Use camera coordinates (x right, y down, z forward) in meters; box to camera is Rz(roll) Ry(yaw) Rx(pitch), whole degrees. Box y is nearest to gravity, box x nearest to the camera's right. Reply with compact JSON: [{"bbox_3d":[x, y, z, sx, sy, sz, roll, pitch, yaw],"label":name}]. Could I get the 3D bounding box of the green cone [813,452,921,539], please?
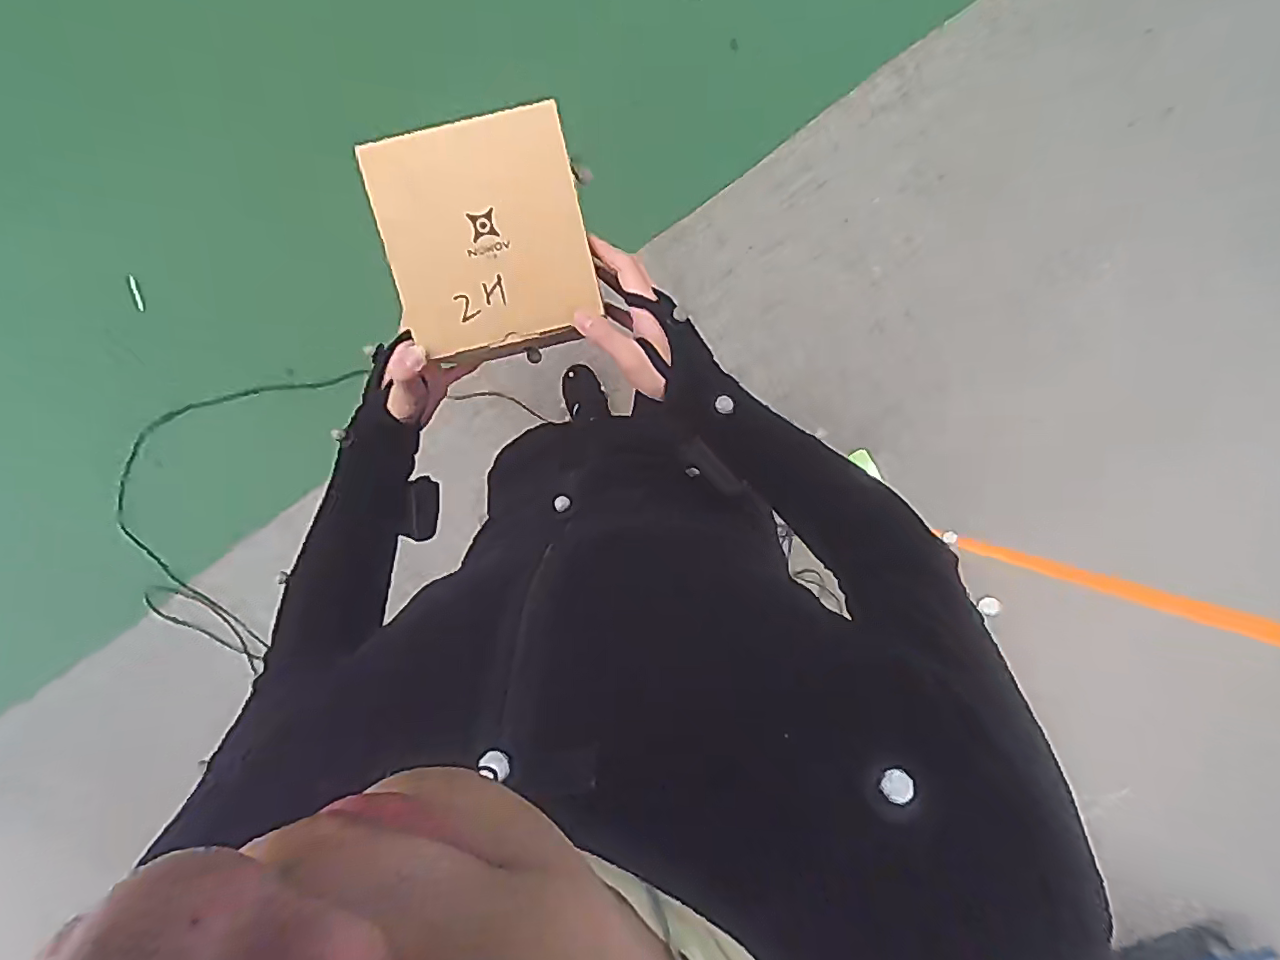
[{"bbox_3d":[0.652,0.079,1.466,0.202,0.368,0.200,-33,101,6],"label":"green cone"}]
